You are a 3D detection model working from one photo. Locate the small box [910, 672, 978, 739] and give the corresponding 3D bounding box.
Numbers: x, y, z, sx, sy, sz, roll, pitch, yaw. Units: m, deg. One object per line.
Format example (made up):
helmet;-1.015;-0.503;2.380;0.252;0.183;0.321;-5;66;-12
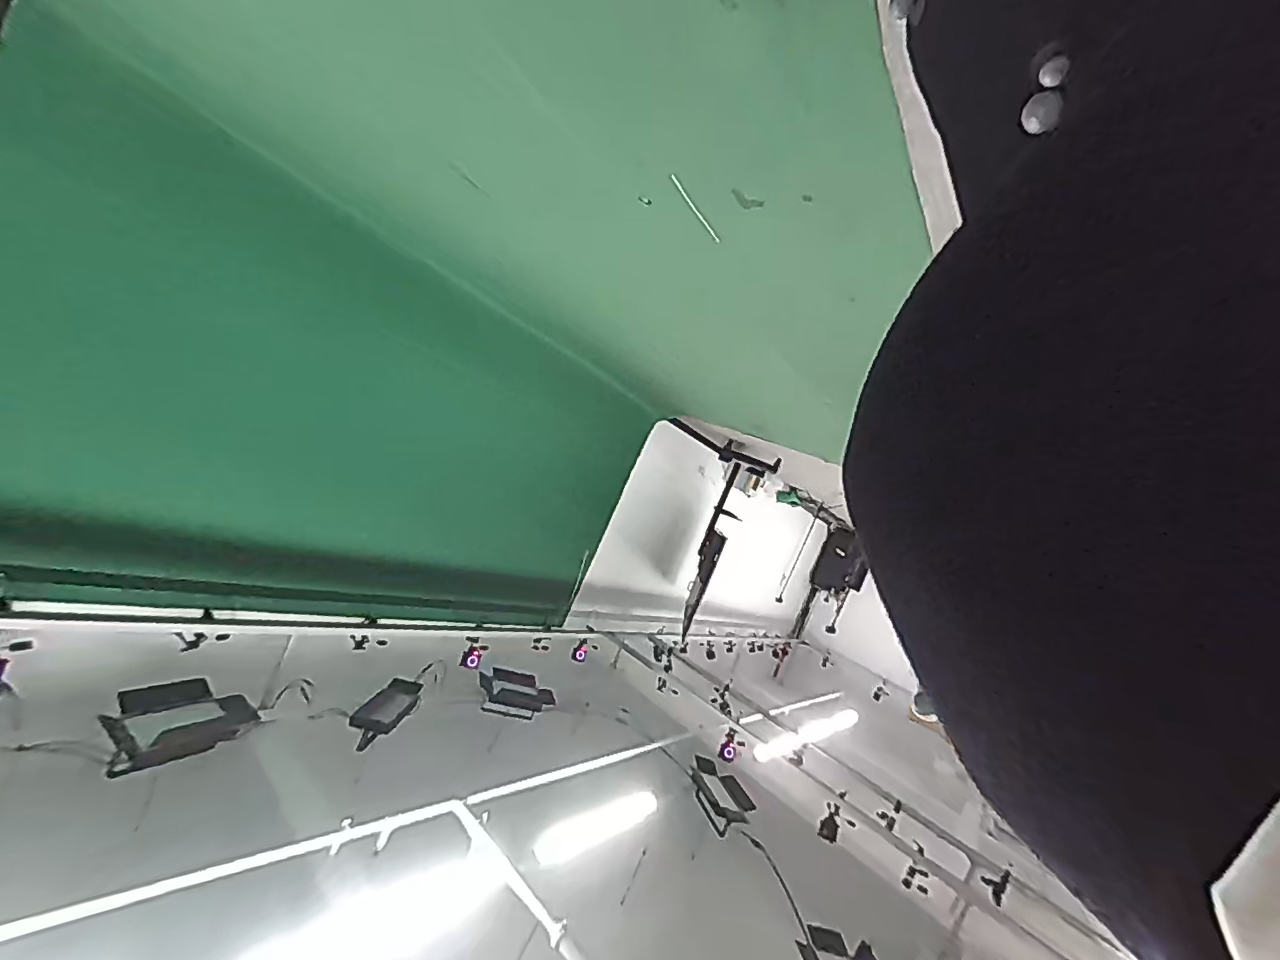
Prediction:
small box;1.156;0.846;2.044;0.179;0.176;0.168;24;179;38
